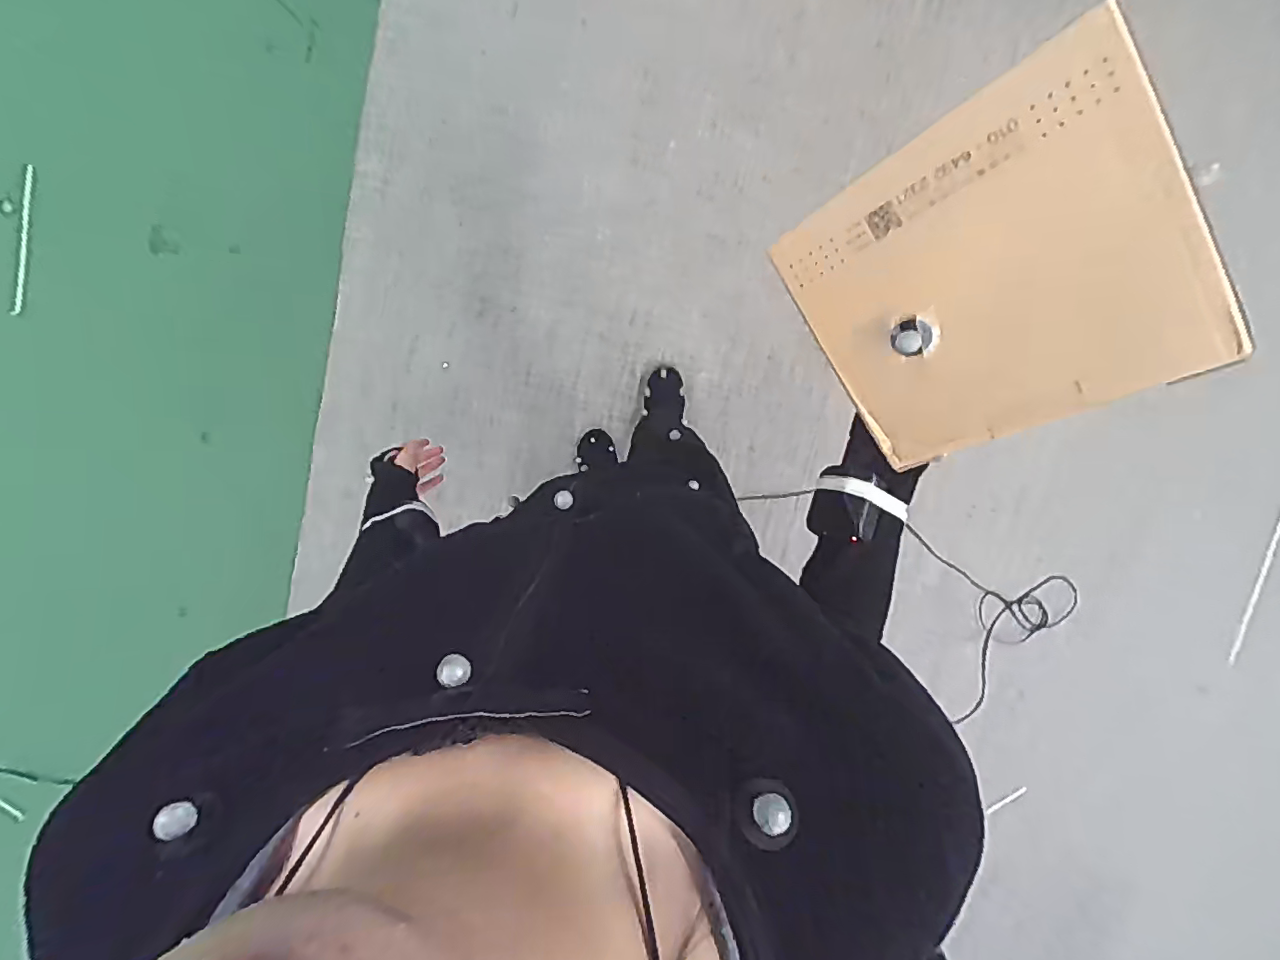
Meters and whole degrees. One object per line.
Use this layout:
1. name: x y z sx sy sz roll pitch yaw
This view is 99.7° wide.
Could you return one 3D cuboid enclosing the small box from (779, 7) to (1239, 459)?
1. small box: 0.214 -0.145 0.344 0.168 0.179 0.176 -23 105 42
